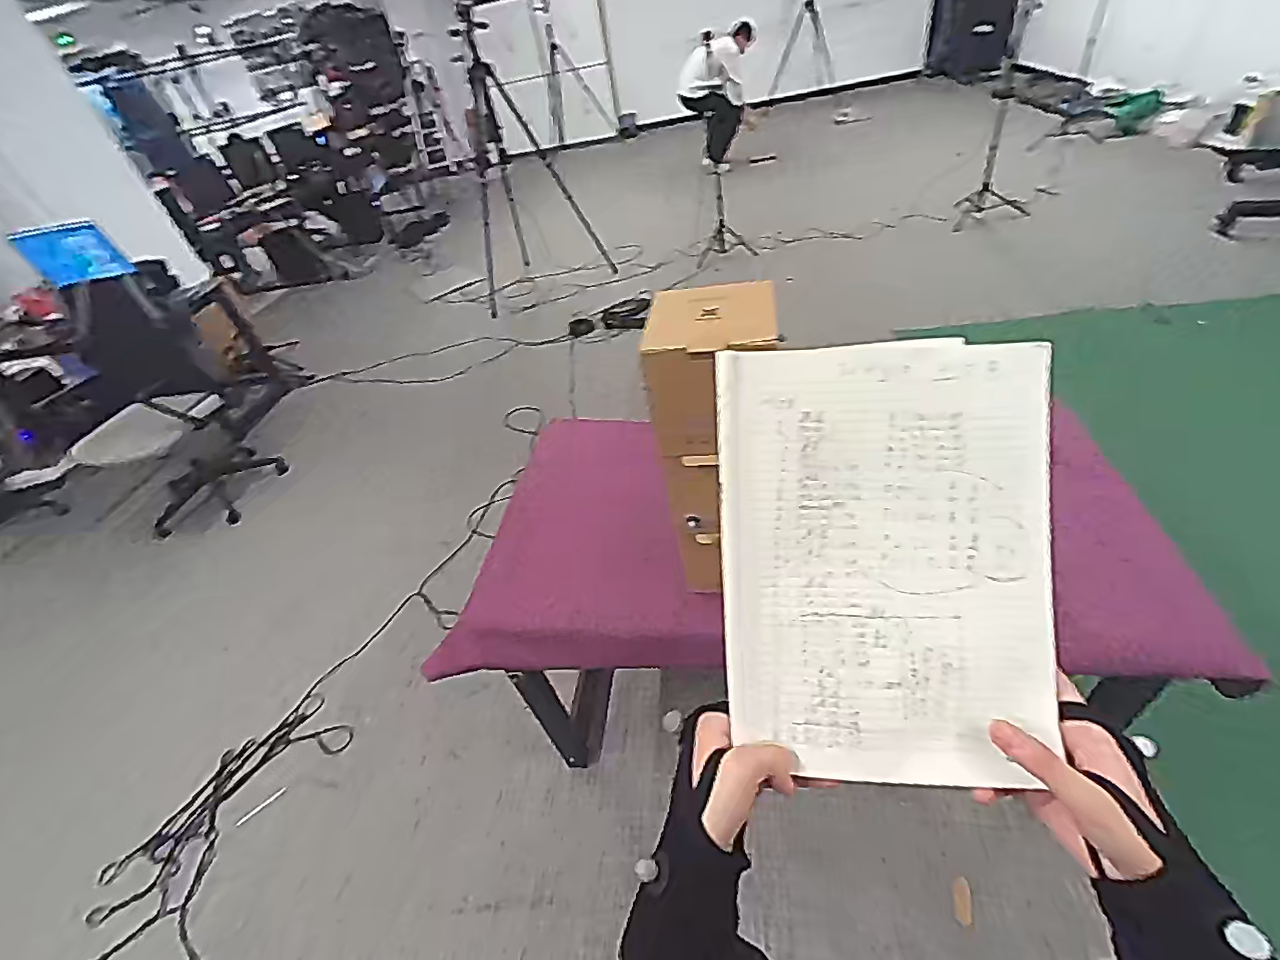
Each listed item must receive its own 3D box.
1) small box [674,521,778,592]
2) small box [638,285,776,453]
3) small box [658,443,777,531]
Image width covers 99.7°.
[{"bbox_3d":[0.161,0.087,0.976,0.168,0.176,0.179,-2,42,12],"label":"small box"},{"bbox_3d":[0.103,-0.149,0.756,0.168,0.176,0.179,-1,41,13],"label":"small box"},{"bbox_3d":[0.131,-0.031,0.865,0.168,0.176,0.179,-2,41,13],"label":"small box"}]
